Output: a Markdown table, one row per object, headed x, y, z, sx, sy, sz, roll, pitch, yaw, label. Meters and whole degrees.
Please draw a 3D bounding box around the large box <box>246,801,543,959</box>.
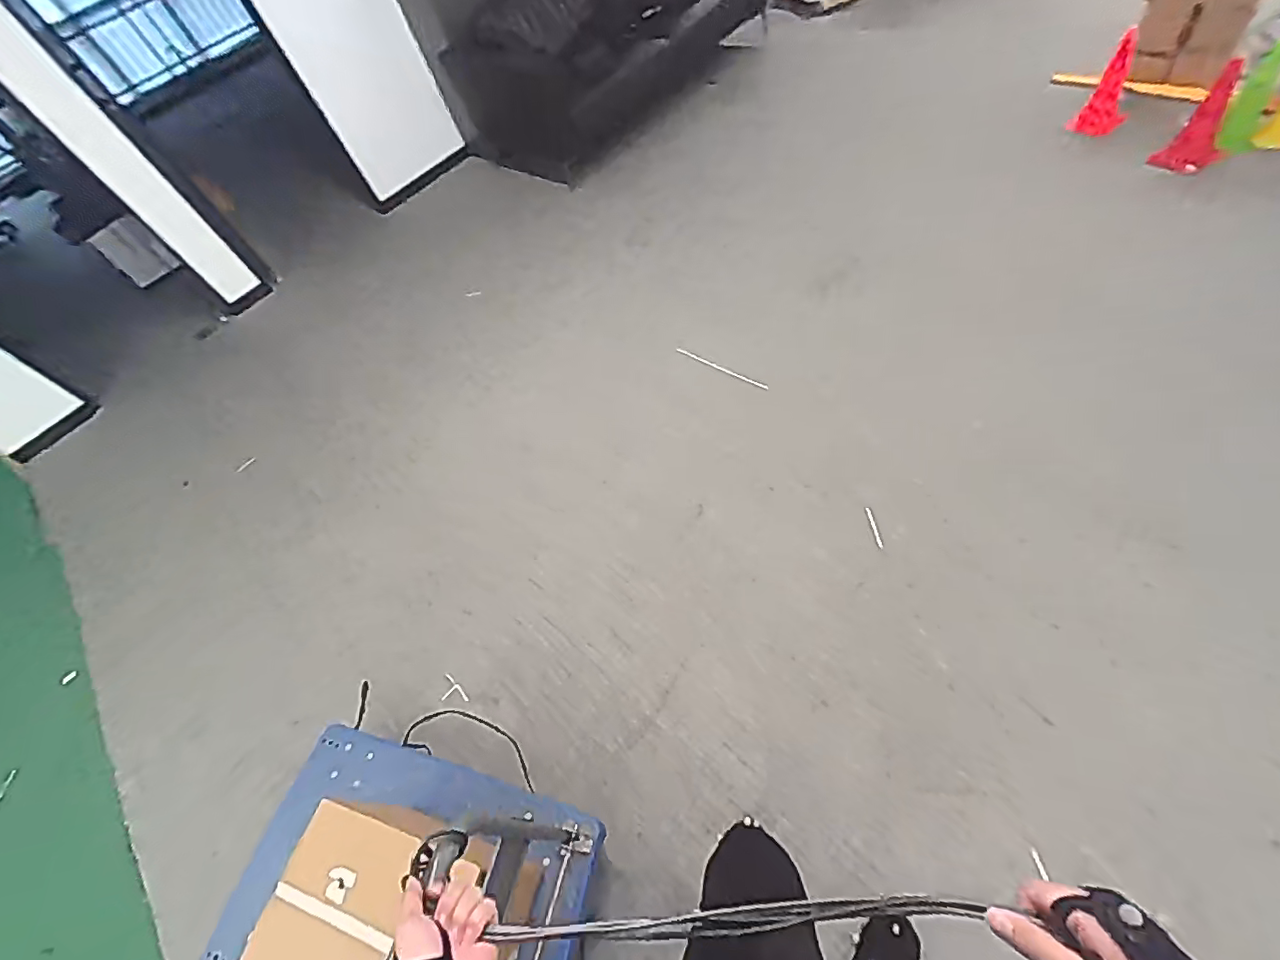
| x | y | z | sx | sy | sz | roll | pitch | yaw | label |
| --- | --- | --- | --- | --- | --- | --- | --- | --- | --- |
| -0.471 | 0.892 | 1.096 | 0.408 | 0.320 | 0.320 | 6 | 57 | 22 | large box |
